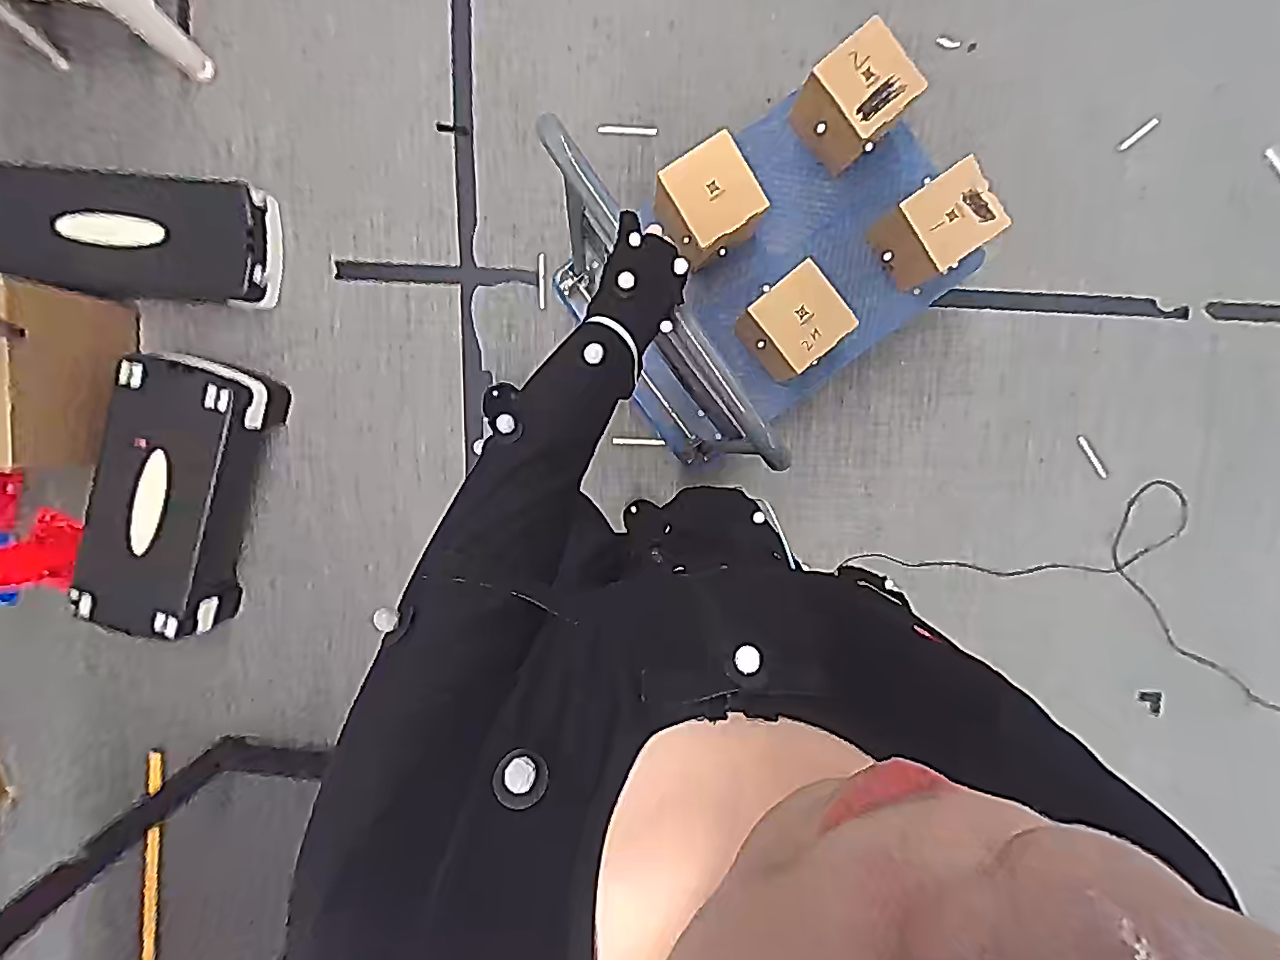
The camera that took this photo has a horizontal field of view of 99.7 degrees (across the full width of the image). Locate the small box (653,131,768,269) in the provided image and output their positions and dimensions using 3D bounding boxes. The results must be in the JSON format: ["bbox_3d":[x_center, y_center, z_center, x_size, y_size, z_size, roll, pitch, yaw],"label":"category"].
[{"bbox_3d":[0.141,-0.587,1.159,0.168,0.176,0.179,-33,97,1],"label":"small box"}]

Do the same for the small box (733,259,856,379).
[{"bbox_3d":[0.328,-0.341,1.187,0.168,0.176,0.179,-39,95,2],"label":"small box"}]

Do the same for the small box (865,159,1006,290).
[{"bbox_3d":[0.633,-0.545,1.180,0.179,0.176,0.168,-34,95,2],"label":"small box"}]
